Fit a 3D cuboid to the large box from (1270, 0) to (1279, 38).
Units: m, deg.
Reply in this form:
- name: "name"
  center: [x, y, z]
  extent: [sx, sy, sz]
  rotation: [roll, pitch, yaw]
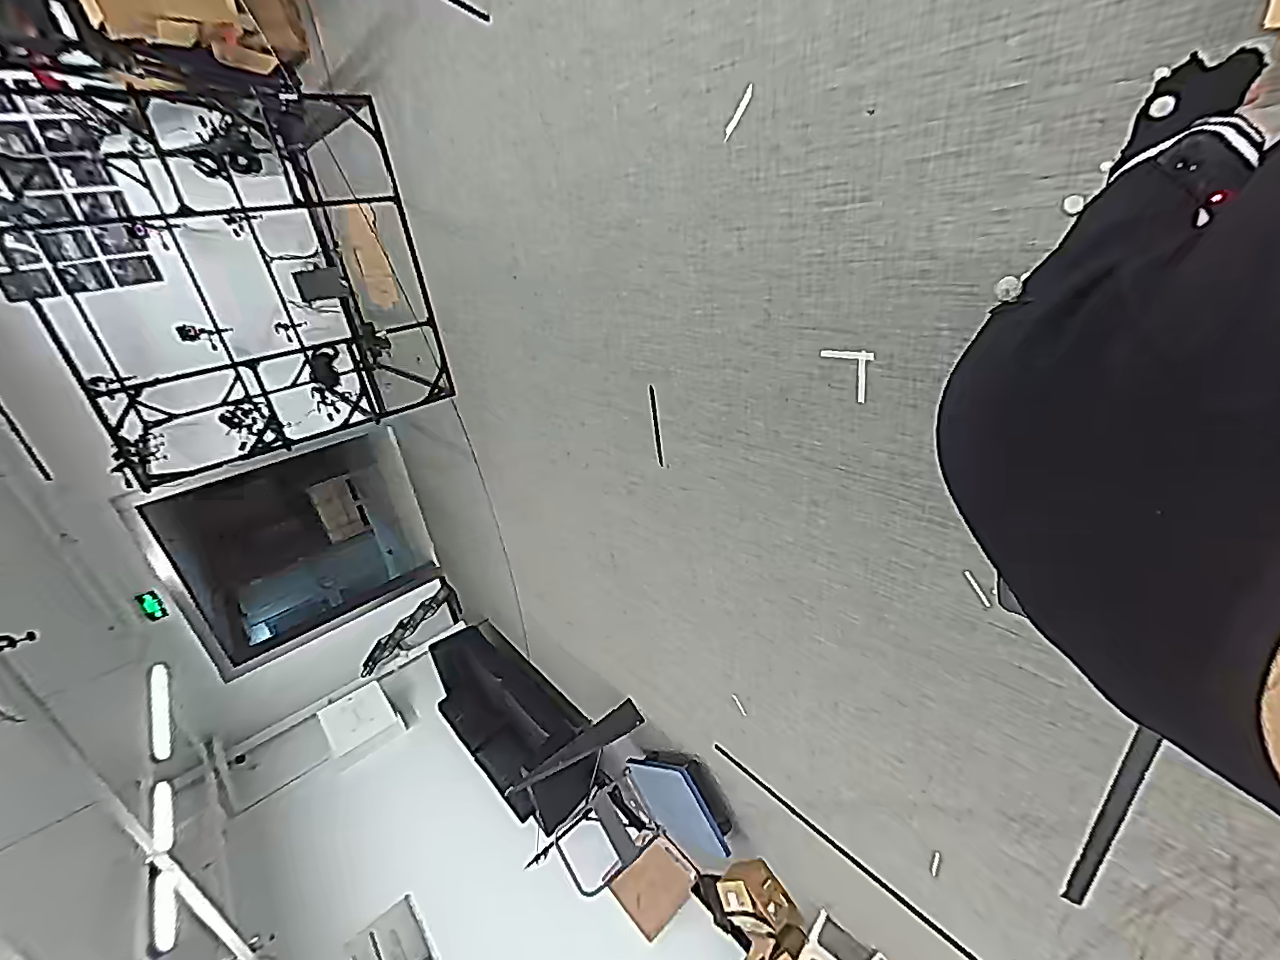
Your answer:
- name: "large box"
  center: [1.028, -0.722, 0.576]
  extent: [0.408, 0.320, 0.320]
  rotation: [21, 129, 45]
